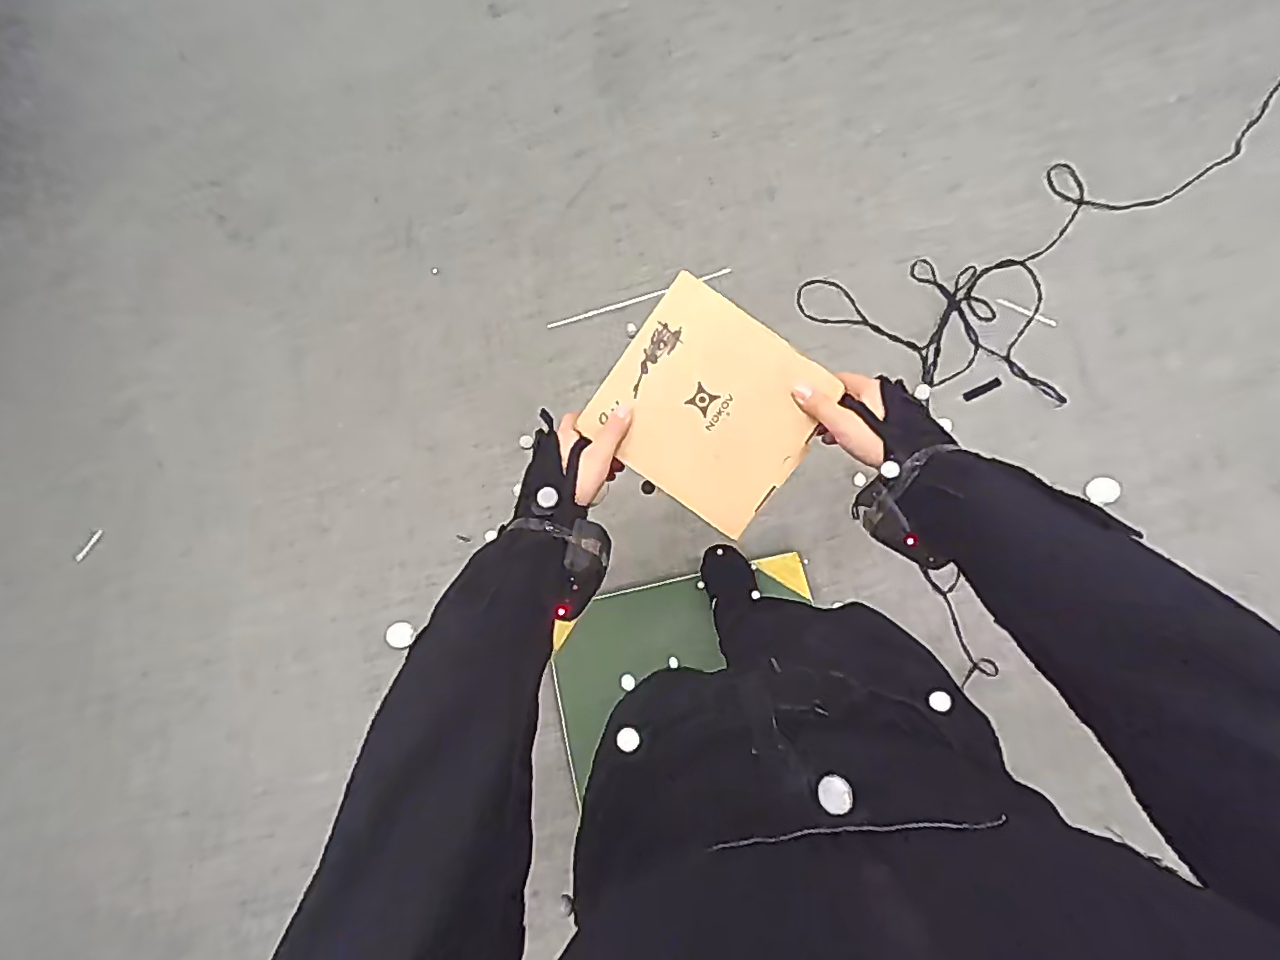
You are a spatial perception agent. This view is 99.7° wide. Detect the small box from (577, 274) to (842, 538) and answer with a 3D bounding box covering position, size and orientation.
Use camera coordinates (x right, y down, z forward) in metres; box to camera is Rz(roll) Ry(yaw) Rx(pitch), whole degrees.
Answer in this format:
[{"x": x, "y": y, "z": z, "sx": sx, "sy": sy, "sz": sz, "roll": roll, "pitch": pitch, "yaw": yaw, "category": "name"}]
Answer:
[{"x": 0.061, "y": -0.068, "z": 0.547, "sx": 0.179, "sy": 0.176, "sz": 0.168, "roll": 36, "pitch": 92, "yaw": -1, "category": "small box"}]
